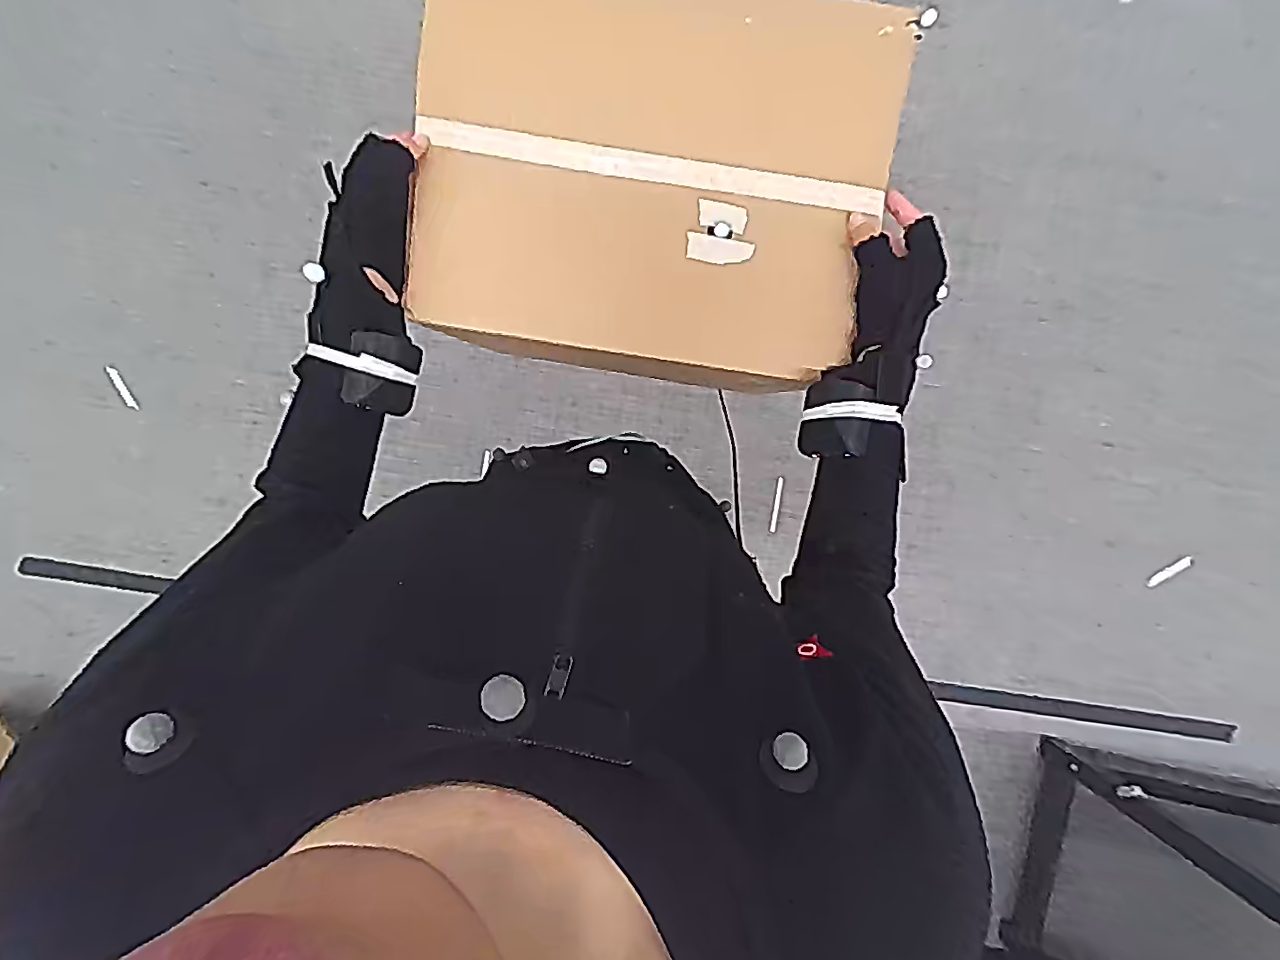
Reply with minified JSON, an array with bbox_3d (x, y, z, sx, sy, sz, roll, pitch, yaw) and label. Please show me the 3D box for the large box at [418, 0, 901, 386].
[{"bbox_3d":[0.007,-0.292,0.628,0.408,0.320,0.320,8,99,-2],"label":"large box"}]
